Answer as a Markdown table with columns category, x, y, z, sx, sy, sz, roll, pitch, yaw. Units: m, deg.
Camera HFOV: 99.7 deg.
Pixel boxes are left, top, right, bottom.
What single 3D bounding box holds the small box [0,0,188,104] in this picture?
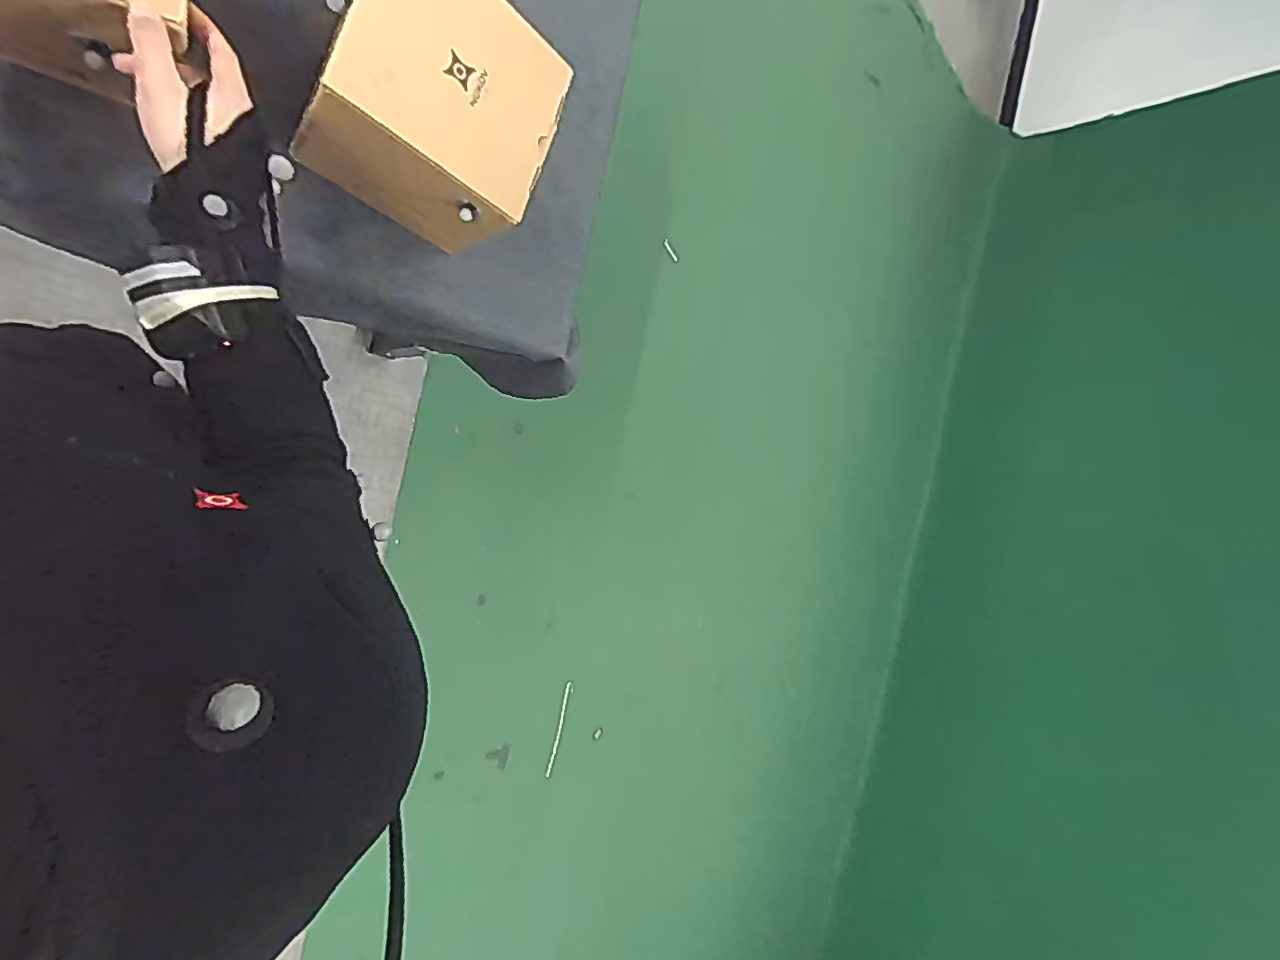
| category | x | y | z | sx | sy | sz | roll | pitch | yaw |
| --- | --- | --- | --- | --- | --- | --- | --- | --- | --- |
| small box | -0.392 | -0.386 | 0.342 | 0.168 | 0.176 | 0.179 | 2 | 96 | -43 |

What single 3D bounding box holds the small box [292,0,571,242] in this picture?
| category | x | y | z | sx | sy | sz | roll | pitch | yaw |
| --- | --- | --- | --- | --- | --- | --- | --- | --- | --- |
| small box | -0.203 | -0.355 | 0.517 | 0.179 | 0.176 | 0.168 | 22 | 83 | -42 |
